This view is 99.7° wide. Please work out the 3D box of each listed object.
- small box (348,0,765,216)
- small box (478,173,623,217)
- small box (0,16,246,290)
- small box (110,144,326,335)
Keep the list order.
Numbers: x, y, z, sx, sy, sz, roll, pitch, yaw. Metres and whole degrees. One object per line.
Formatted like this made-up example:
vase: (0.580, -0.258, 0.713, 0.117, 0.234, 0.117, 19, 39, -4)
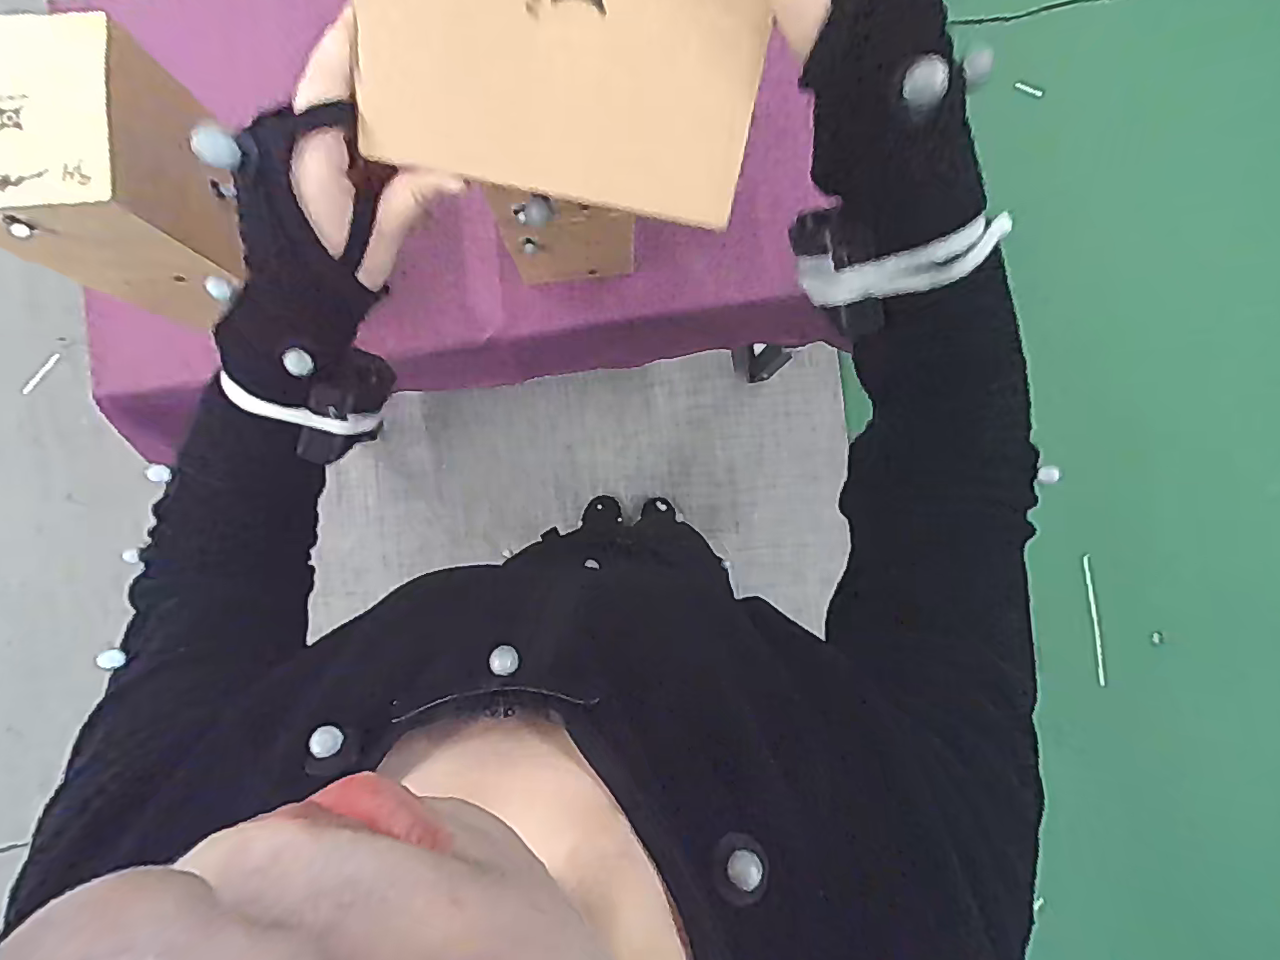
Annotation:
small box: (-0.035, -0.251, 0.294, 0.179, 0.176, 0.168, 8, 115, -5)
small box: (-0.098, -0.402, 0.570, 0.168, 0.176, 0.179, -9, 86, -2)
small box: (-0.540, -0.316, 0.552, 0.168, 0.176, 0.179, -4, 86, -1)
small box: (-0.544, -0.307, 0.716, 0.168, 0.176, 0.179, -4, 88, -2)
